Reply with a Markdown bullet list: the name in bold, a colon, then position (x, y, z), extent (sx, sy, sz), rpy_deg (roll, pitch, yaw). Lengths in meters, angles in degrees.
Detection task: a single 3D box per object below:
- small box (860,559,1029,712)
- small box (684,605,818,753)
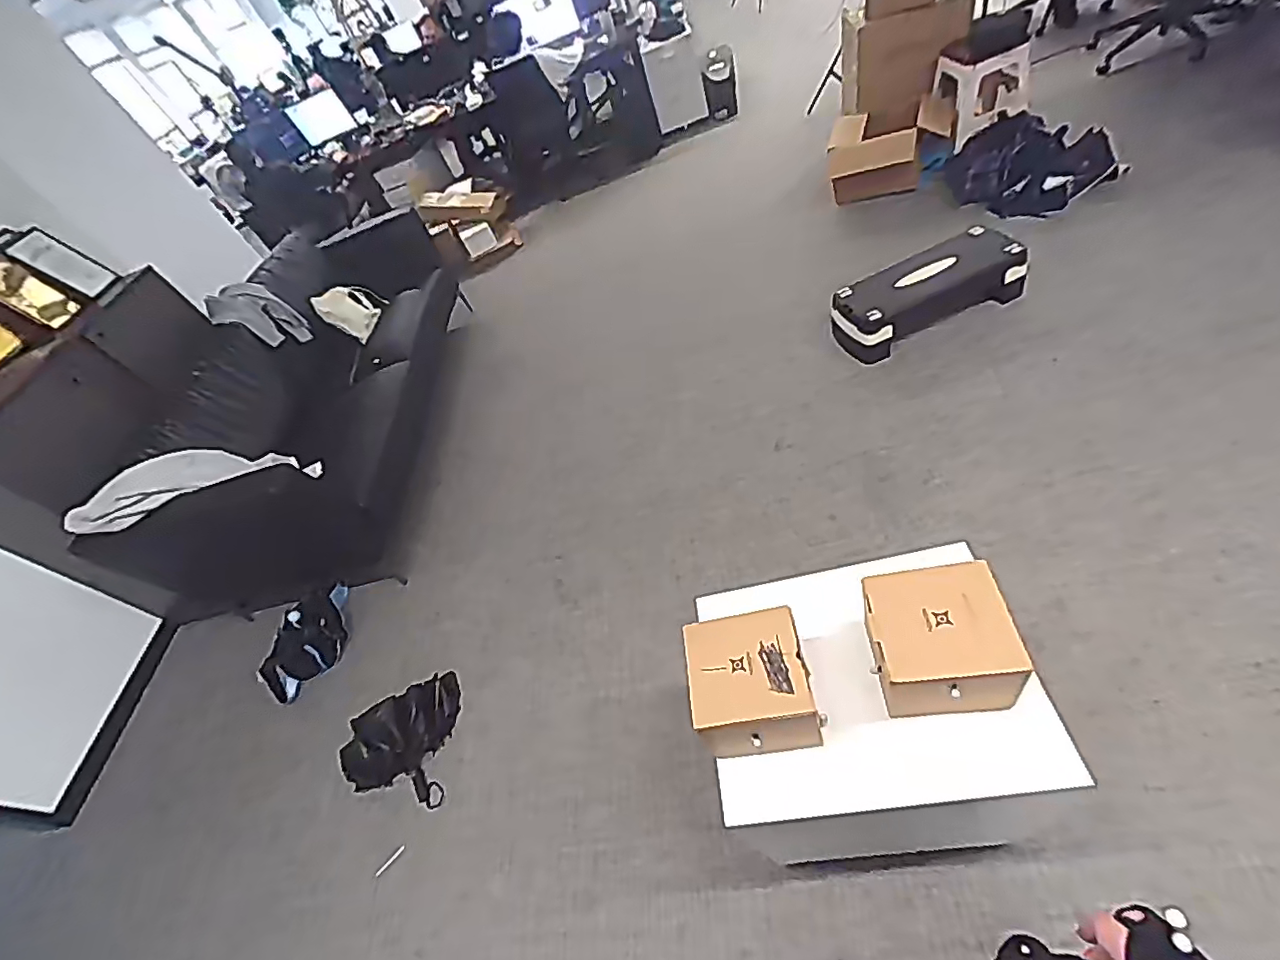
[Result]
- **small box**: position (0.447, 0.243, 0.821), extent (0.179, 0.176, 0.168), rpy_deg (-12, 50, 15)
- **small box**: position (0.181, 0.325, 0.870), extent (0.179, 0.176, 0.168), rpy_deg (-15, 47, 13)
